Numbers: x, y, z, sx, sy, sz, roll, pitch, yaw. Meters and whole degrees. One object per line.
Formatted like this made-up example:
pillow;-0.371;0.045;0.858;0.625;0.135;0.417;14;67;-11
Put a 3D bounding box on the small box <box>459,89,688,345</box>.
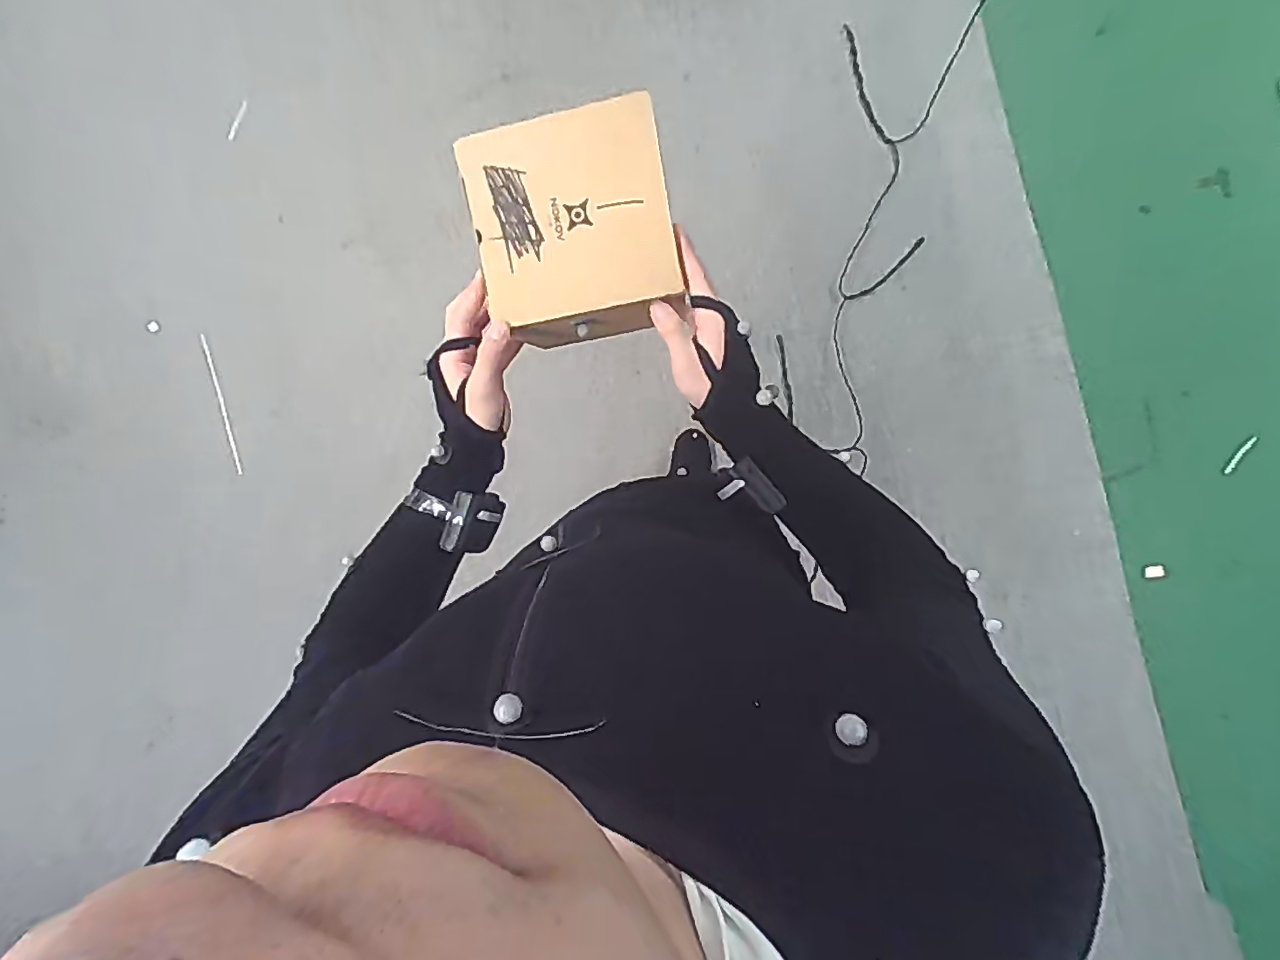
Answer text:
small box;-0.050;-0.238;0.540;0.179;0.176;0.168;-10;97;7
